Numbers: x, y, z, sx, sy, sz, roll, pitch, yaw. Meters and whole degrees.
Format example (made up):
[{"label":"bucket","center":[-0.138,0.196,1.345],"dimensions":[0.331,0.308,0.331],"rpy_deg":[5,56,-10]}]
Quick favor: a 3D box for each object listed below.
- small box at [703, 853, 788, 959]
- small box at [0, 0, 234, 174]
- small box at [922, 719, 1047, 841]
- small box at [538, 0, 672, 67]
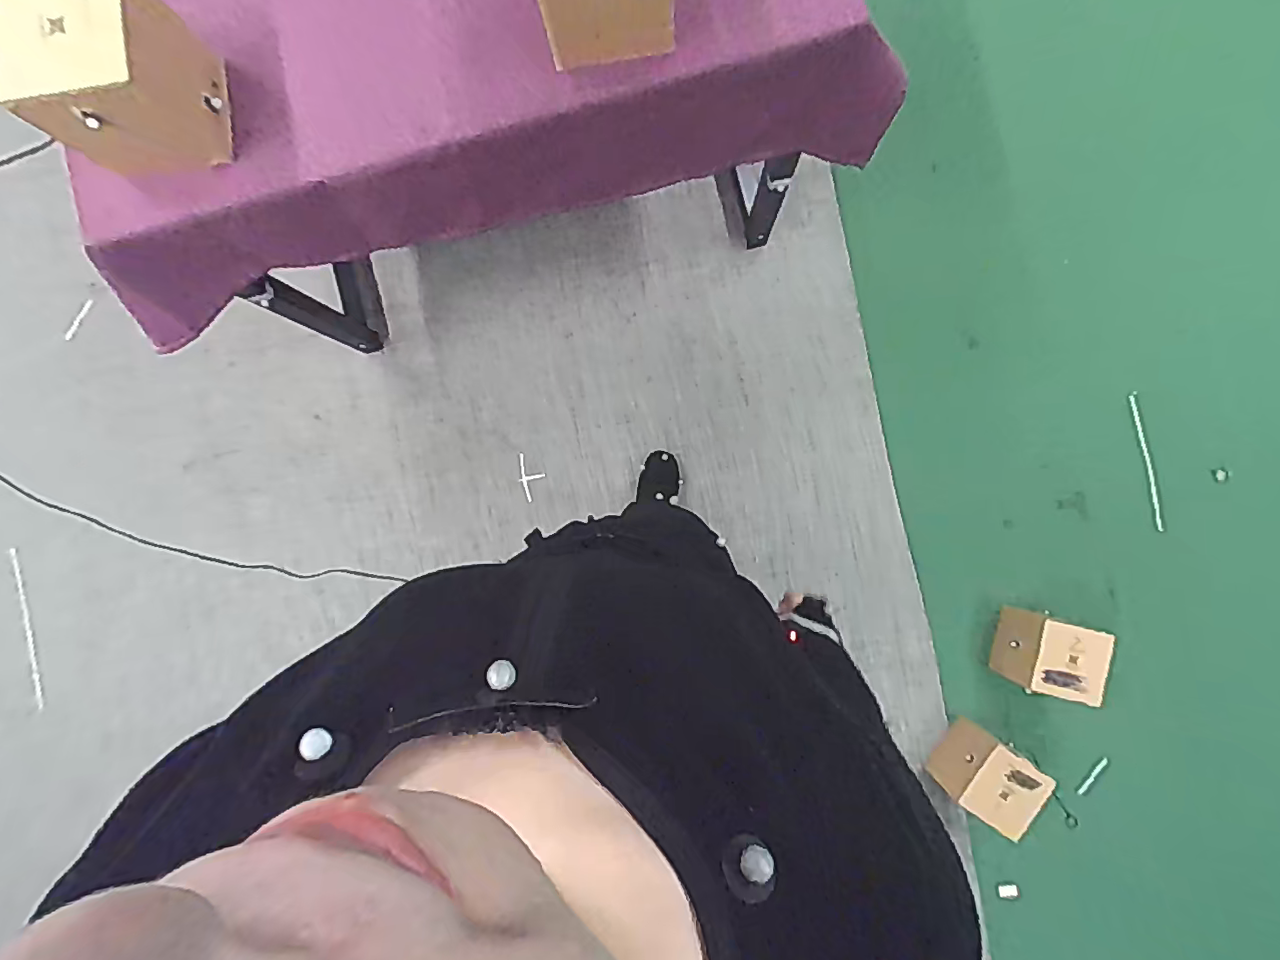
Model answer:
[{"label":"small box","center":[0.261,1.101,1.385],"dimensions":[0.179,0.176,0.168],"rpy_deg":[-13,89,3]},{"label":"small box","center":[-0.703,-0.546,0.734],"dimensions":[0.179,0.176,0.168],"rpy_deg":[-7,89,2]},{"label":"small box","center":[0.856,0.745,1.365],"dimensions":[0.168,0.176,0.179],"rpy_deg":[35,92,2]},{"label":"small box","center":[-0.053,-0.686,0.708],"dimensions":[0.179,0.176,0.168],"rpy_deg":[-7,88,2]}]
